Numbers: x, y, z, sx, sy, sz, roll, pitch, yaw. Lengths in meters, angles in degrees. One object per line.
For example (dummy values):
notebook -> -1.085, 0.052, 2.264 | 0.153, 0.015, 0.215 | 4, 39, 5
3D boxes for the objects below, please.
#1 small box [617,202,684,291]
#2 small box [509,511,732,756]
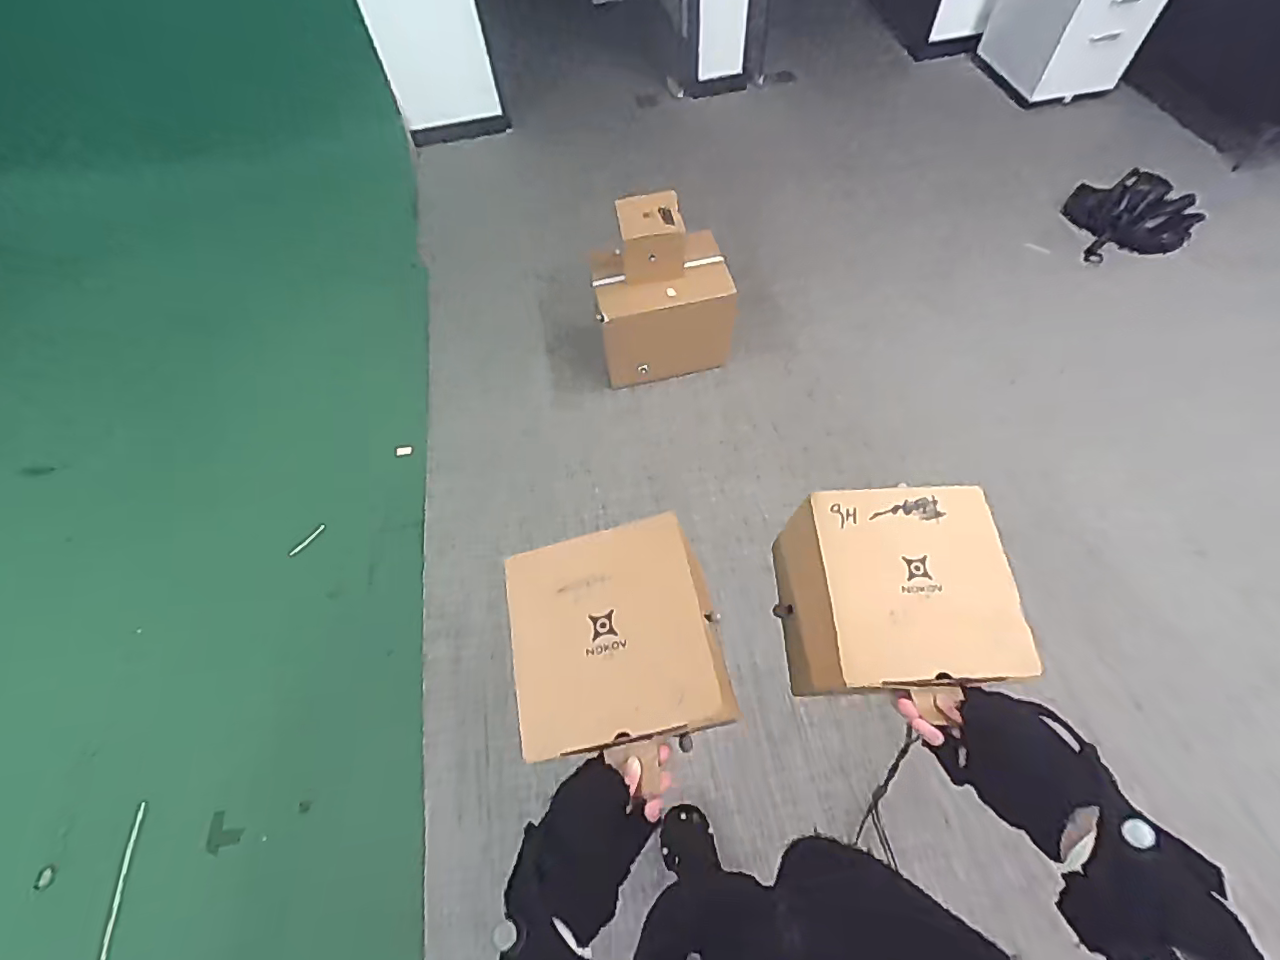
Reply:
small box -> 0.029, -0.678, 1.578 | 0.179, 0.176, 0.168 | -6, 63, 0
small box -> -0.012, 0.156, 0.531 | 0.168, 0.176, 0.179 | -16, 62, 5
